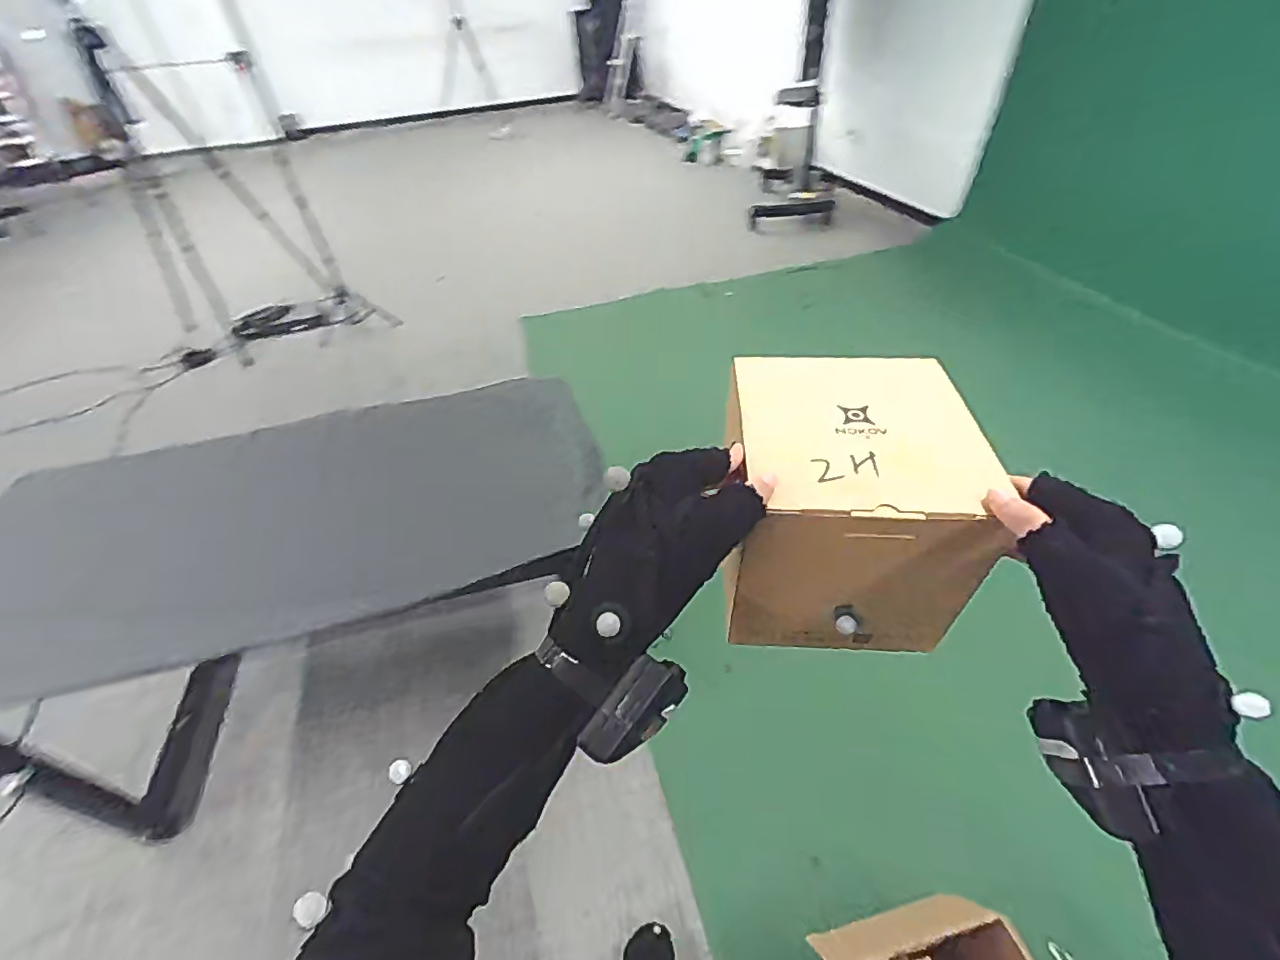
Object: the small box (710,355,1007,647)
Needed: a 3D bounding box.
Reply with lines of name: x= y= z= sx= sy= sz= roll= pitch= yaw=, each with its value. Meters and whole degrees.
small box: x=0.148 y=0.015 z=0.447 sx=0.168 sy=0.176 sz=0.179 roll=0 pitch=45 yaw=3
